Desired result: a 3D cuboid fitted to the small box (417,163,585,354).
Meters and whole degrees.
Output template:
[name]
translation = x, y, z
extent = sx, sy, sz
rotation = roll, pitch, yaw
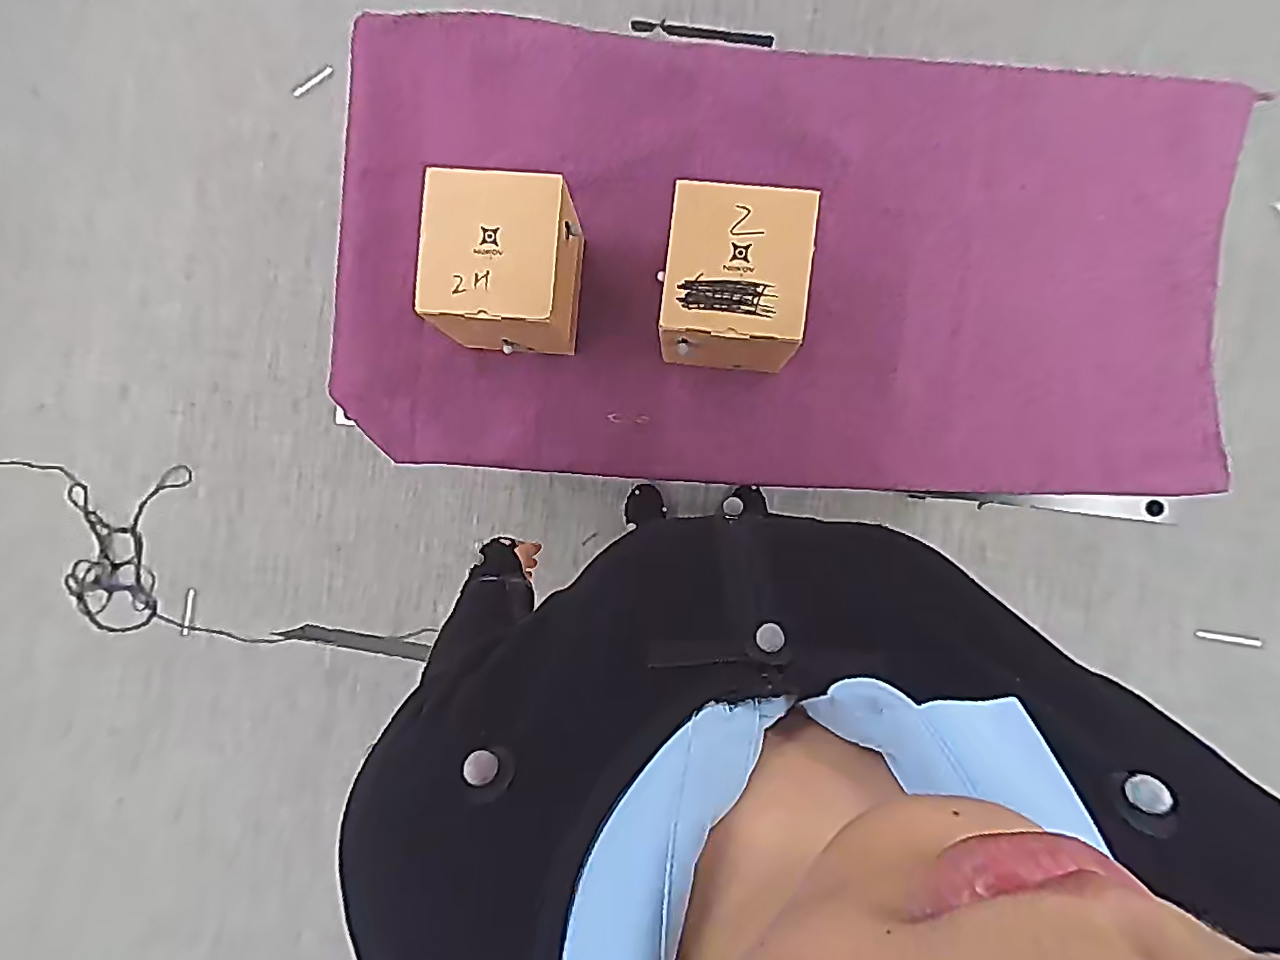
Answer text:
[small box]
translation = -0.168, -0.277, 0.707
extent = 0.168, 0.176, 0.179
rotation = 5, 90, 3
